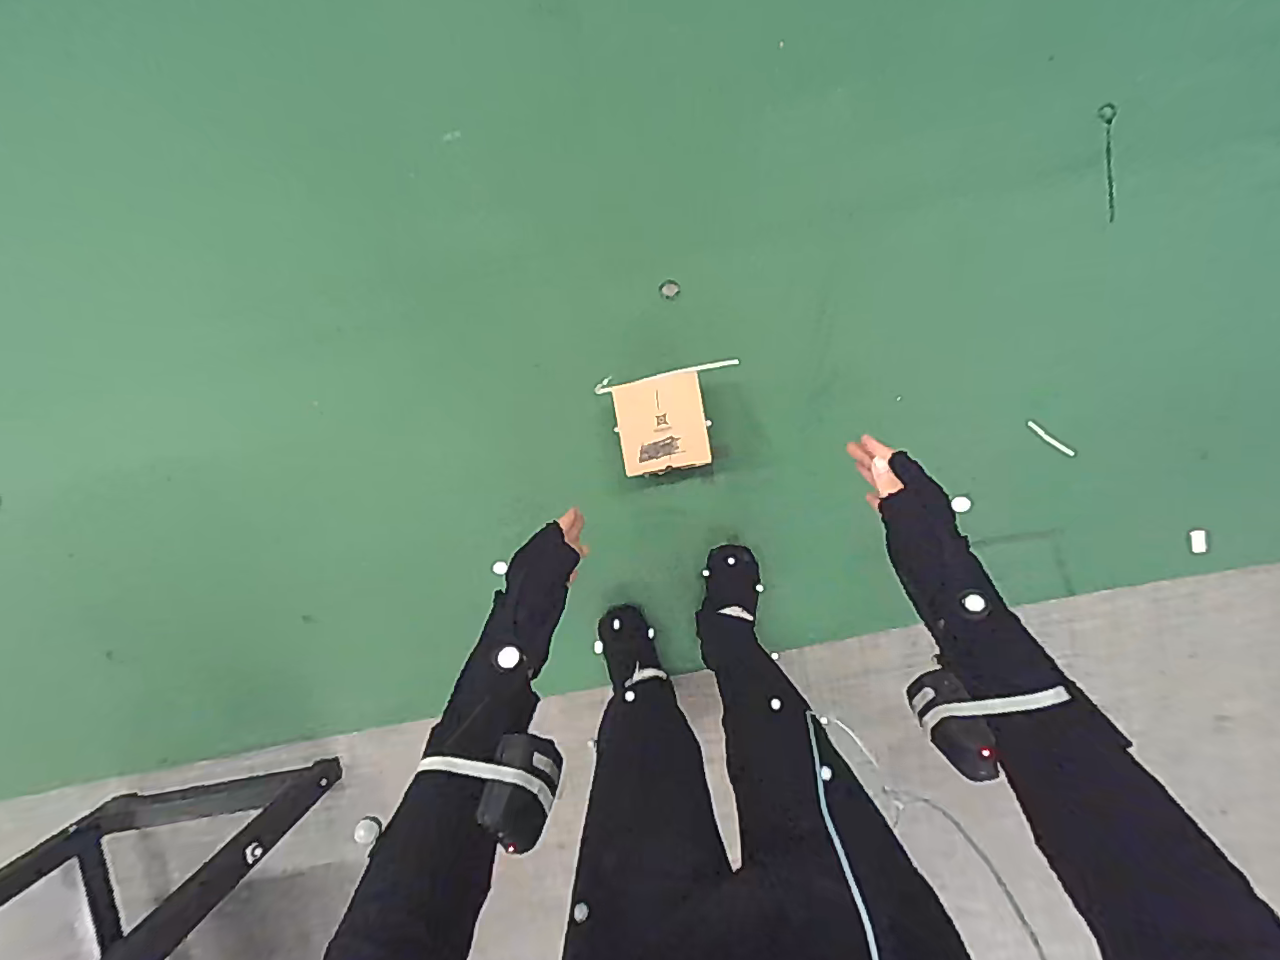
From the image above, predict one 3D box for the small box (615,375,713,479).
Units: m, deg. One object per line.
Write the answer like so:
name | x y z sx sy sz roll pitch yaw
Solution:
small box | 0.052 -0.103 1.096 0.168 0.176 0.179 -10 92 3
